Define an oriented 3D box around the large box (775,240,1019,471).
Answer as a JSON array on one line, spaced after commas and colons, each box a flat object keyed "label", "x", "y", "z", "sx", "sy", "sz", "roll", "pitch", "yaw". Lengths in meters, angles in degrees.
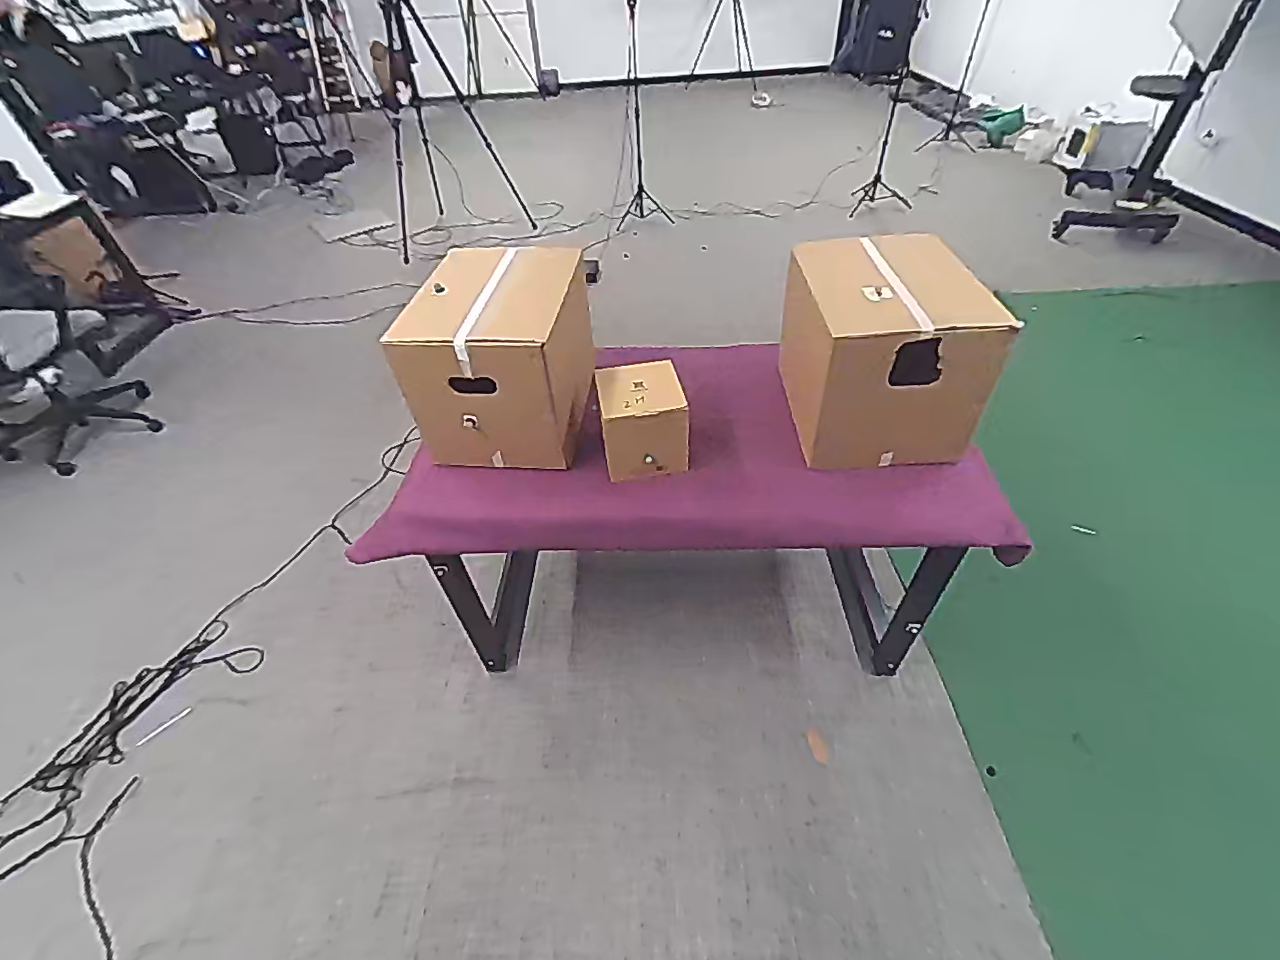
[{"label": "large box", "x": 0.491, "y": -0.271, "z": 1.152, "sx": 0.320, "sy": 0.320, "sz": 0.408, "roll": -4, "pitch": 45, "yaw": 4}]
